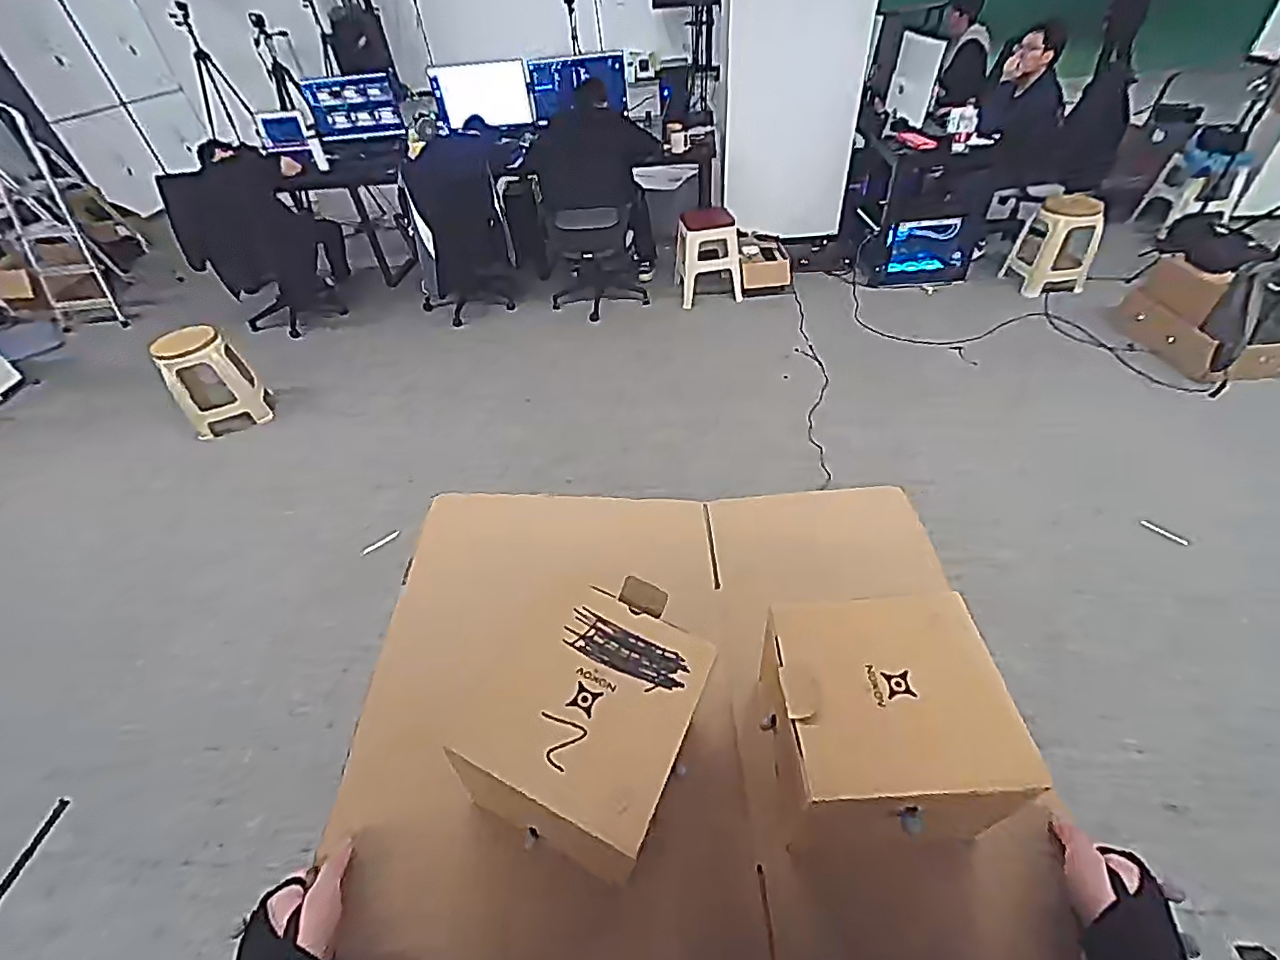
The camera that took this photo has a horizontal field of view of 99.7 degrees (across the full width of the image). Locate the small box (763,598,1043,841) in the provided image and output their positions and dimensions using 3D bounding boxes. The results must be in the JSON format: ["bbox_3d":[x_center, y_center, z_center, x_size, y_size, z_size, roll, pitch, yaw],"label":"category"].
[{"bbox_3d":[0.223,0.232,0.519,0.179,0.176,0.168,-6,46,3],"label":"small box"}]
